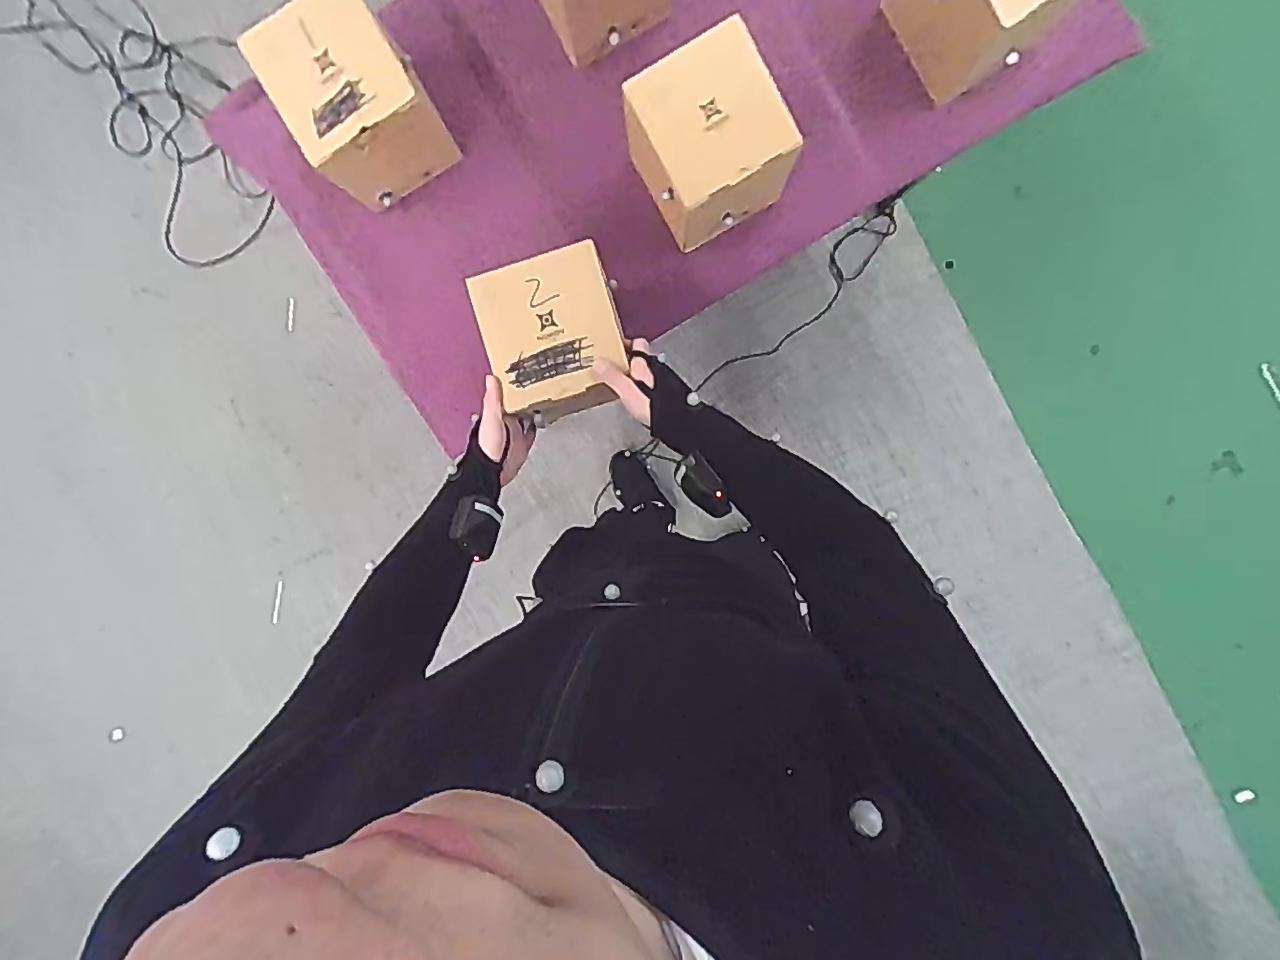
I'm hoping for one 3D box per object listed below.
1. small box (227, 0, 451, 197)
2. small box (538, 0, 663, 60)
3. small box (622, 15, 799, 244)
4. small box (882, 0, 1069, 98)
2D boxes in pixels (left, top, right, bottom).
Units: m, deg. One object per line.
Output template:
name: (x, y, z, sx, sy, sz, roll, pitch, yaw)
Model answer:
small box: (-0.393, -0.523, 0.744, 0.168, 0.176, 0.179, -30, 97, 4)
small box: (-0.075, -0.723, 0.716, 0.168, 0.176, 0.179, -28, 98, 5)
small box: (0.087, -0.464, 0.749, 0.168, 0.176, 0.179, -29, 96, 4)
small box: (0.454, -0.665, 0.712, 0.168, 0.176, 0.179, -31, 96, 6)
